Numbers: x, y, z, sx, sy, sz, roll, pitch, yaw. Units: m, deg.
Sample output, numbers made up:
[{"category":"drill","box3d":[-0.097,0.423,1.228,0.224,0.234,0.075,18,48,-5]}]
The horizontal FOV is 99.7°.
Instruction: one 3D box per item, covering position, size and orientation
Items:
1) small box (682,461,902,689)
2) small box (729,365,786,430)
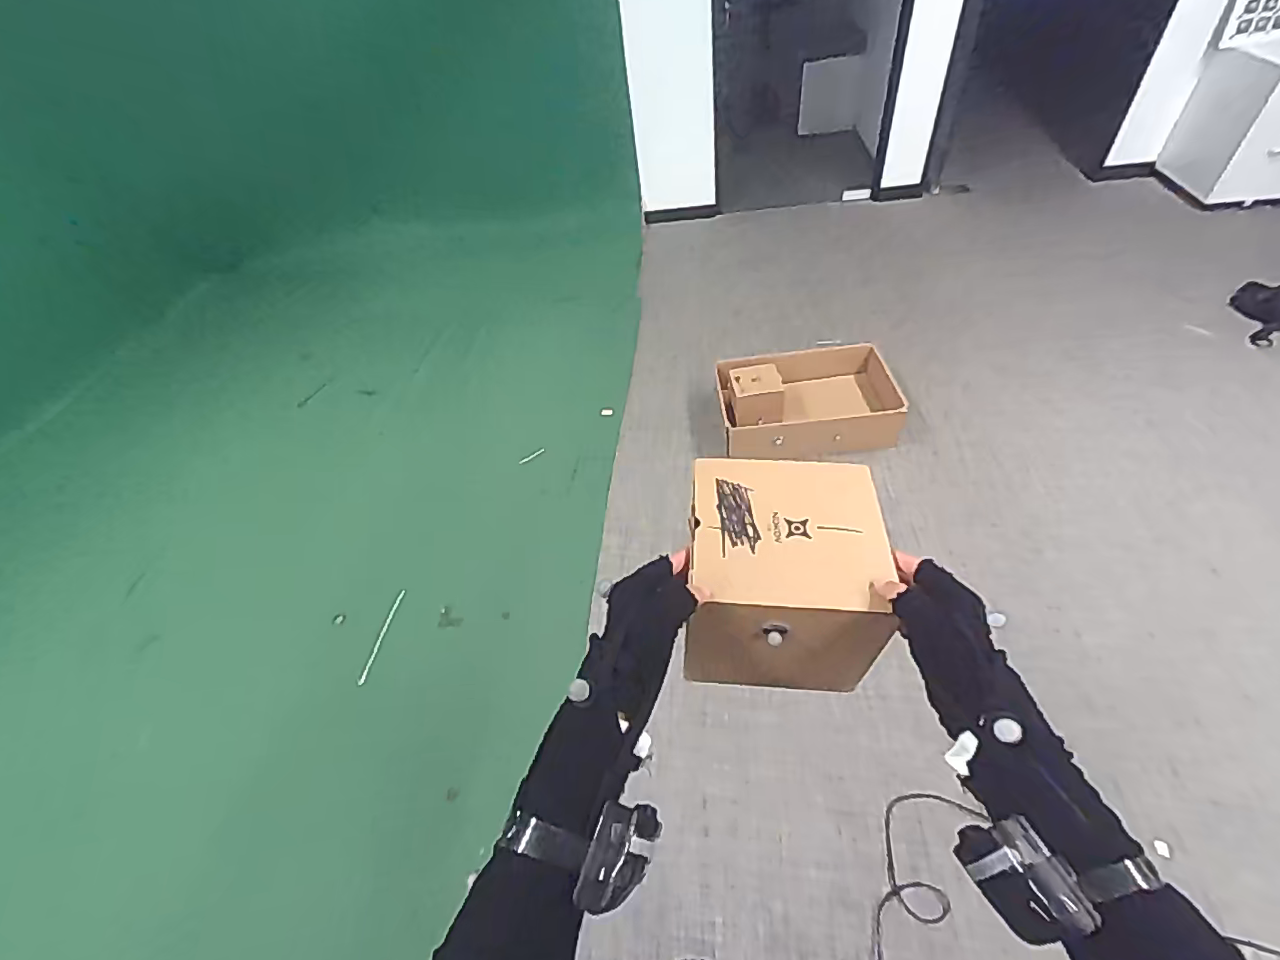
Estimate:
[{"category":"small box","box3d":[0.135,0.099,0.552,0.179,0.176,0.168,3,49,4]},{"category":"small box","box3d":[0.434,-0.309,2.028,0.179,0.176,0.168,-7,47,2]}]
